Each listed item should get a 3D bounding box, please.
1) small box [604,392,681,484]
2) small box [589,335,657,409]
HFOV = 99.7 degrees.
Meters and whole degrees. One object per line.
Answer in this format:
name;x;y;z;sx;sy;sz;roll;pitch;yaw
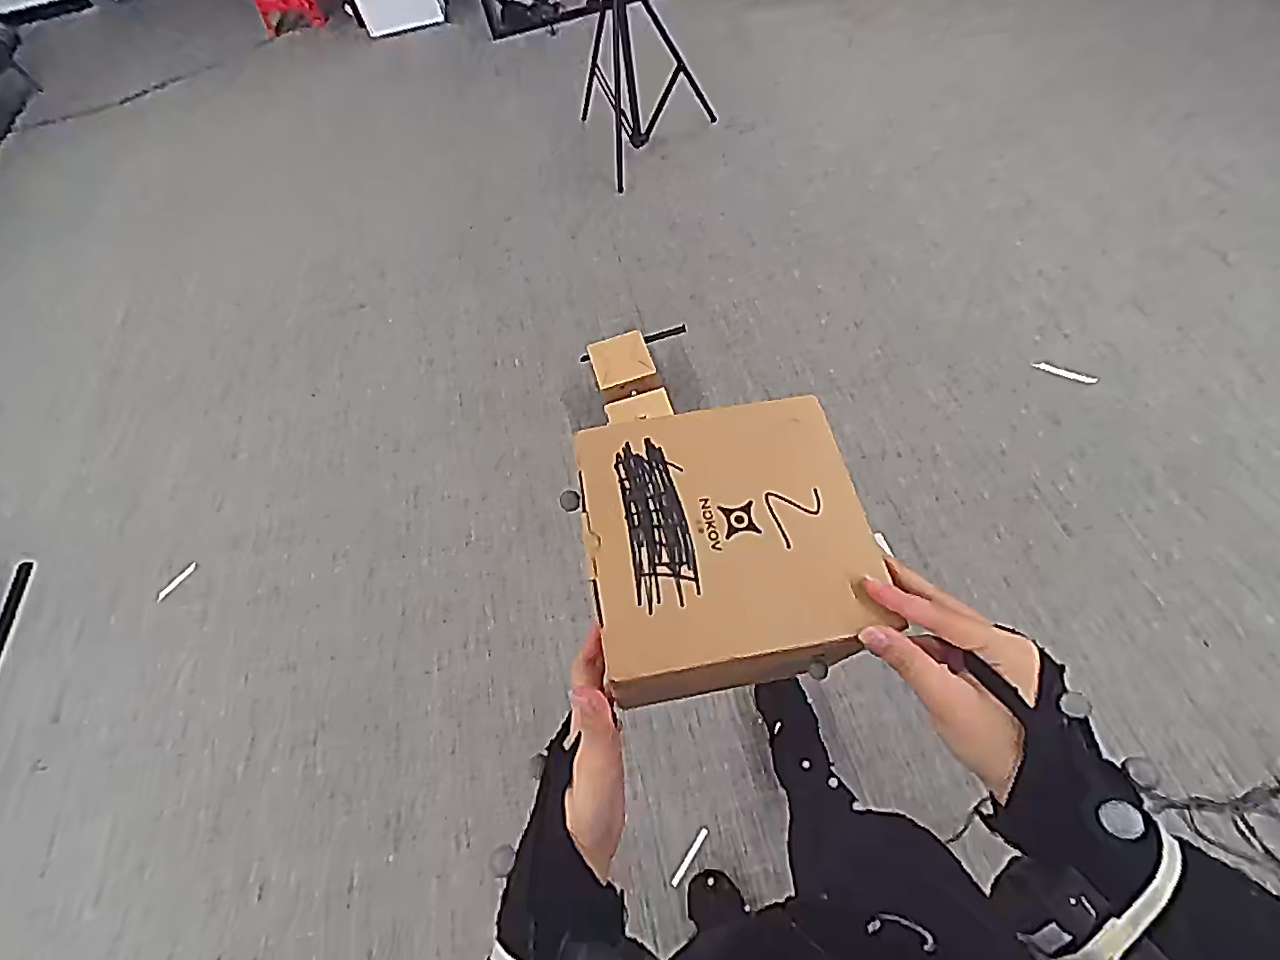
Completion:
small box;0.013;-0.114;1.510;0.179;0.176;0.168;-17;60;-1
small box;-0.048;-0.302;1.616;0.168;0.176;0.179;-18;60;-1
